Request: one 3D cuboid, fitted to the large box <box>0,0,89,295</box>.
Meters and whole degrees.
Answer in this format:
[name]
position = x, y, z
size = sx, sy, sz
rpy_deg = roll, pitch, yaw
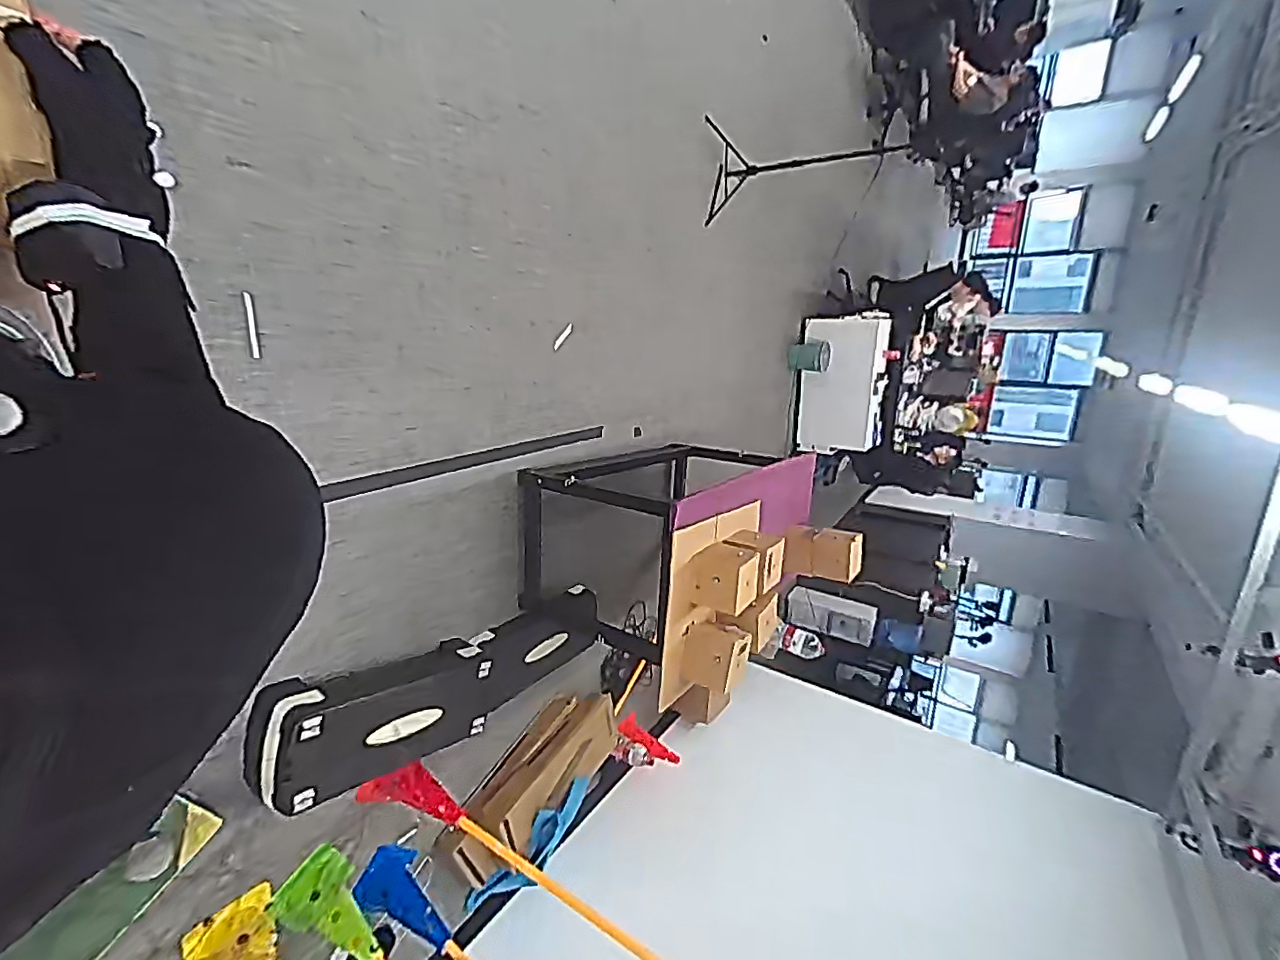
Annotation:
[large box]
position = -0.703, -0.302, 0.341
size = 0.408, 0.320, 0.320
rpy_deg = -22, 112, -54
